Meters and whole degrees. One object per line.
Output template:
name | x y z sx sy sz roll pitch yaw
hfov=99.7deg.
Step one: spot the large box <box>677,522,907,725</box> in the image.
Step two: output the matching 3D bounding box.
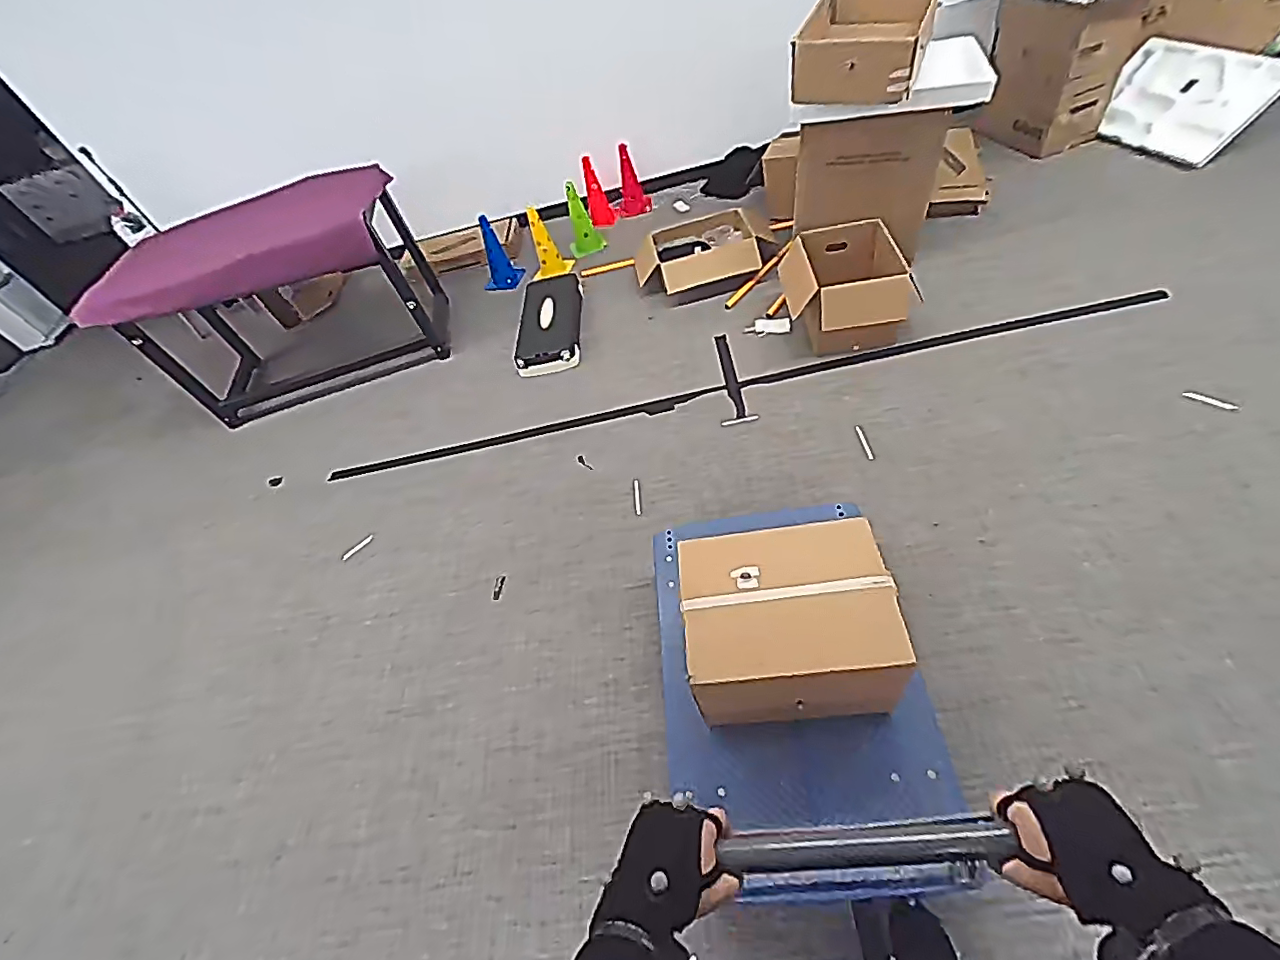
large box | 0.316 0.330 1.201 0.408 0.320 0.320 -10 50 9
